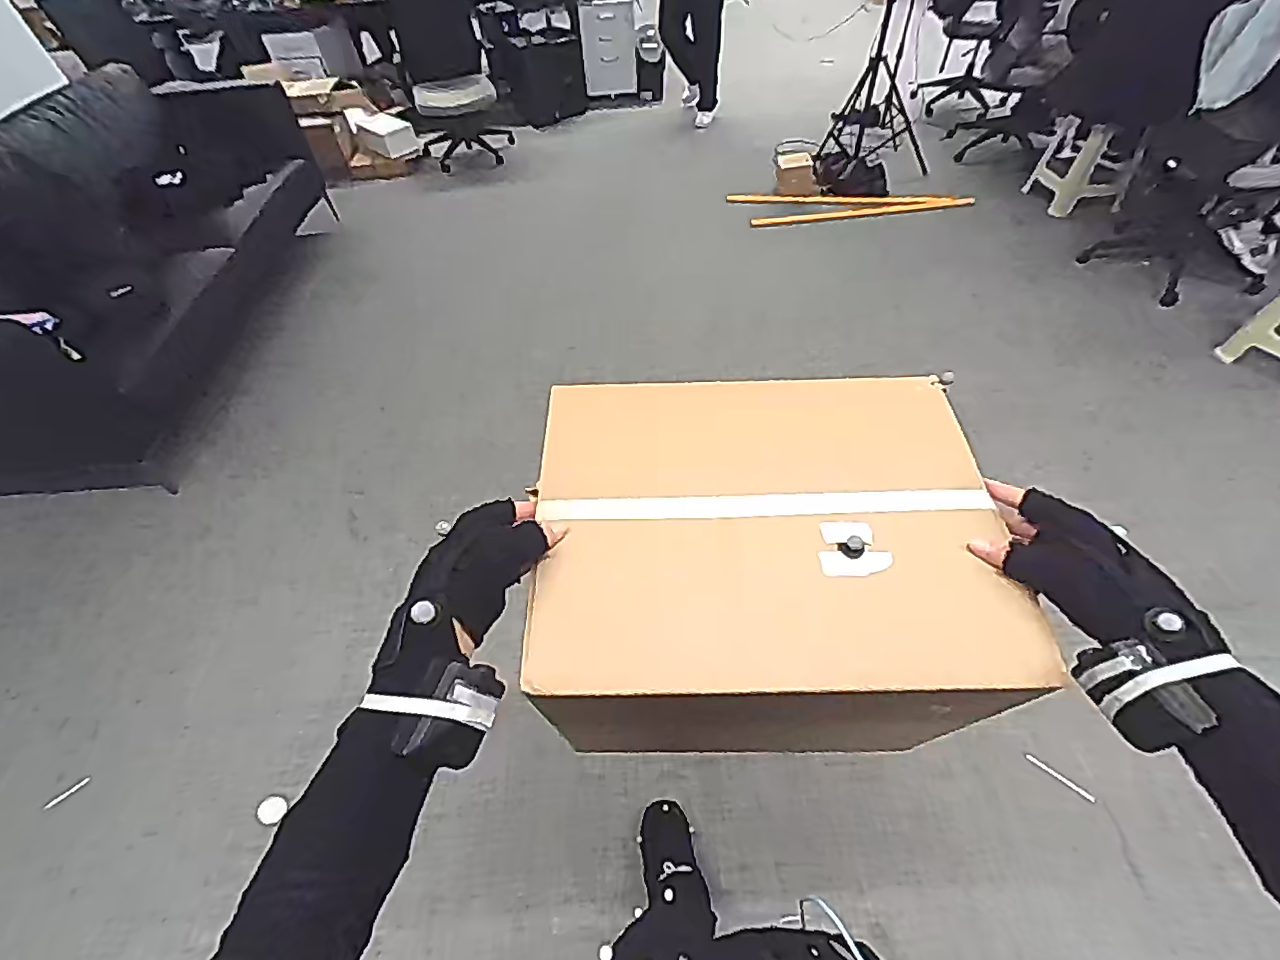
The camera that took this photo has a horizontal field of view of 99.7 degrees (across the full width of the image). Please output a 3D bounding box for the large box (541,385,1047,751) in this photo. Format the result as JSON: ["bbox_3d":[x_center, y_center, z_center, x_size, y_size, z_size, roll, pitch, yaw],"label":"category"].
[{"bbox_3d":[0.116,0.113,0.622,0.408,0.320,0.320,-1,56,0],"label":"large box"}]
